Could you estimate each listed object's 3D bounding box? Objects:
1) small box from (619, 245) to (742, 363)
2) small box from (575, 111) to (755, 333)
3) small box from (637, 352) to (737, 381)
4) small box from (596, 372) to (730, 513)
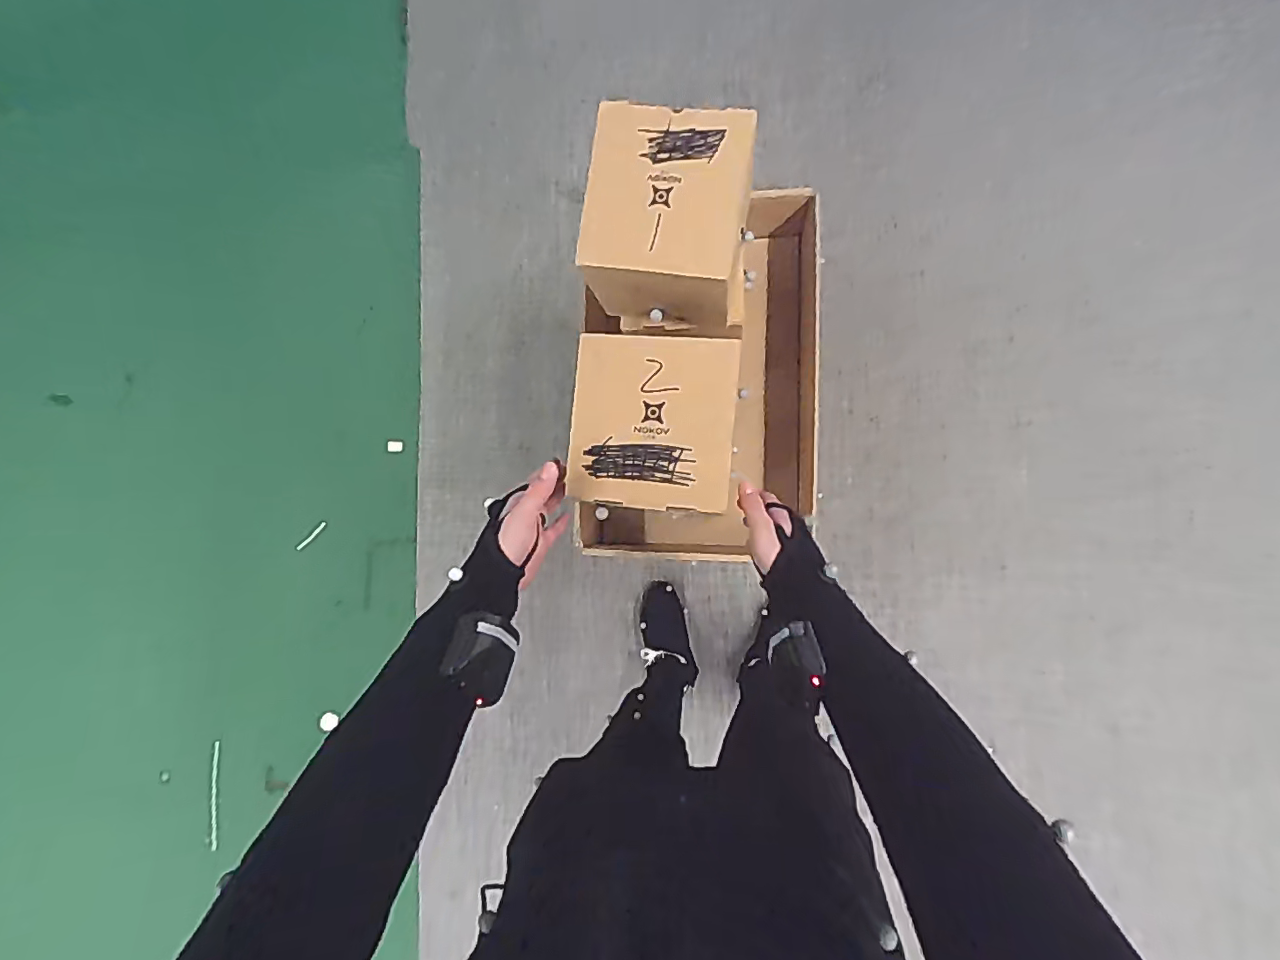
[{"bbox_3d":[0.064,-0.282,0.803,0.168,0.176,0.179,0,89,8],"label":"small box"},{"bbox_3d":[0.035,-0.292,0.642,0.168,0.176,0.179,10,91,9],"label":"small box"},{"bbox_3d":[0.089,-0.278,0.963,0.168,0.176,0.179,0,88,9],"label":"small box"},{"bbox_3d":[0.041,-0.046,0.789,0.168,0.176,0.179,5,86,8],"label":"small box"}]
